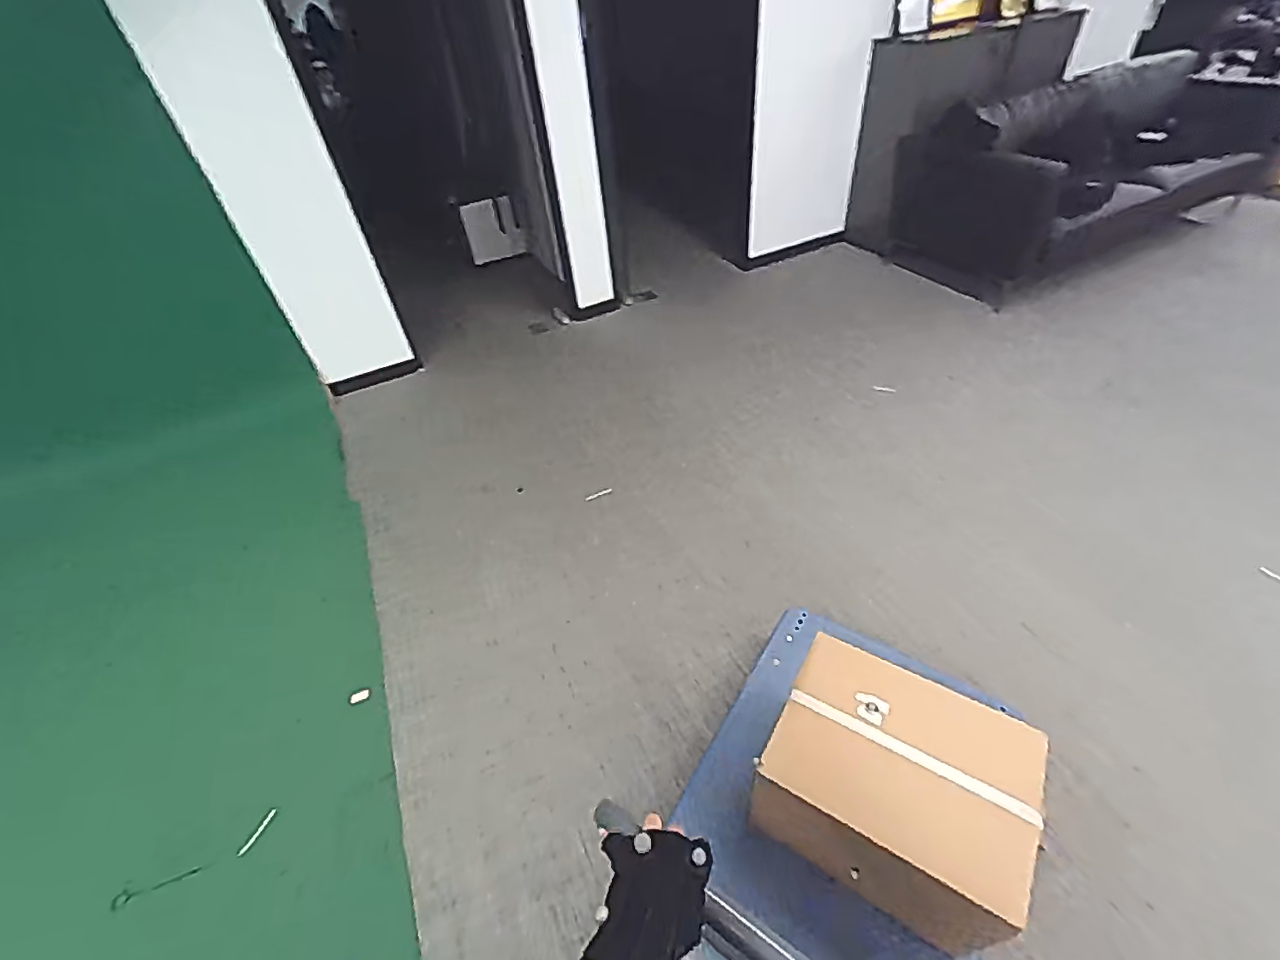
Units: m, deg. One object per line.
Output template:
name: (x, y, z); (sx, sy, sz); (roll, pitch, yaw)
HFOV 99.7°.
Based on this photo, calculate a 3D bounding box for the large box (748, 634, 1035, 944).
large box: (0.455, 0.575, 1.035); (0.408, 0.320, 0.320); (20, 50, 28)
